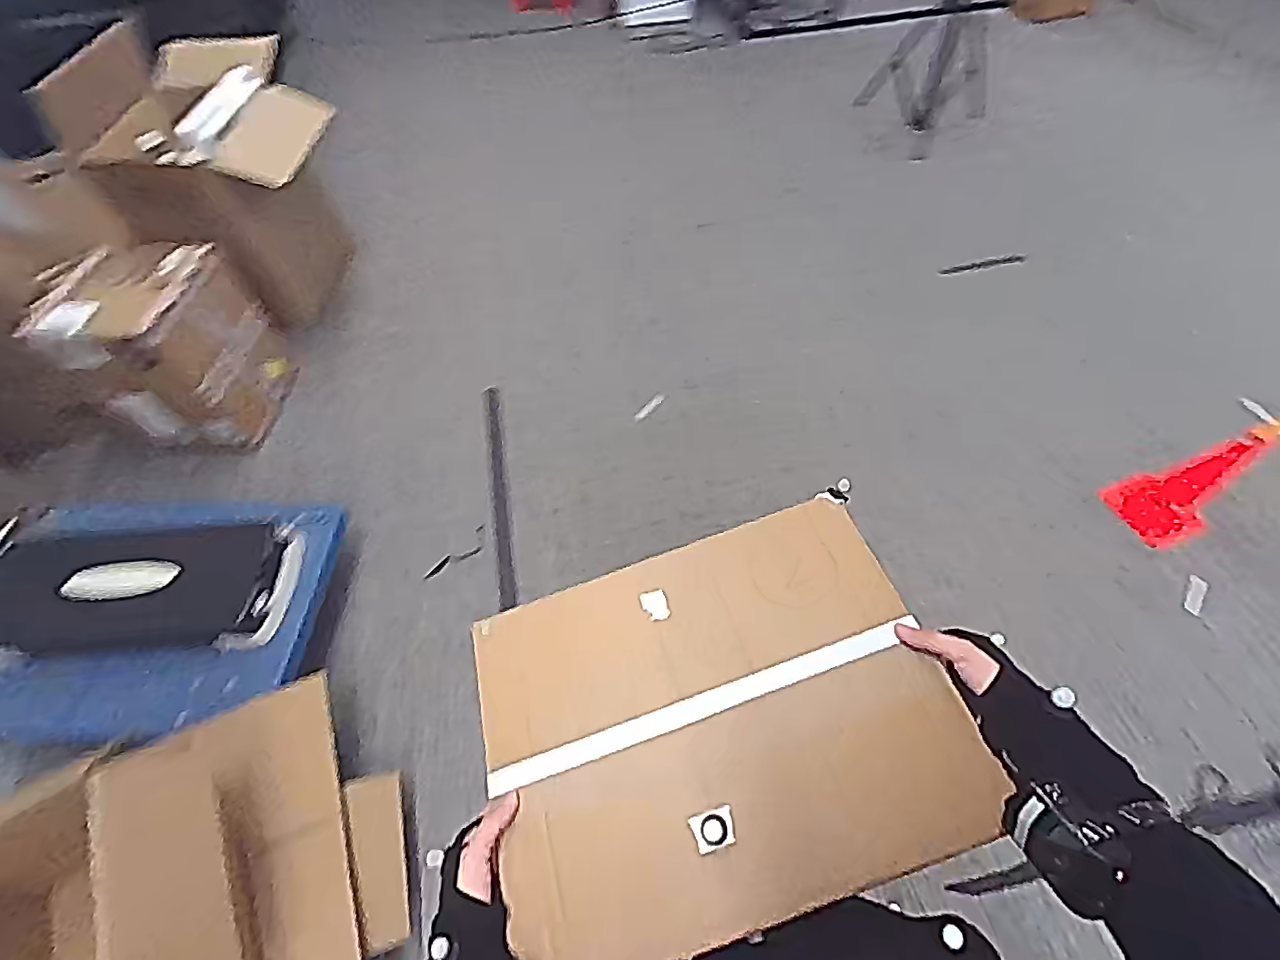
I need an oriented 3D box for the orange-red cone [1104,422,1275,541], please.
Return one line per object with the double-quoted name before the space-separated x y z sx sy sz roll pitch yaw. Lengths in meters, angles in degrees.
"orange-red cone" 1.459 -0.025 1.404 0.198 0.360 0.199 -18 57 -10
